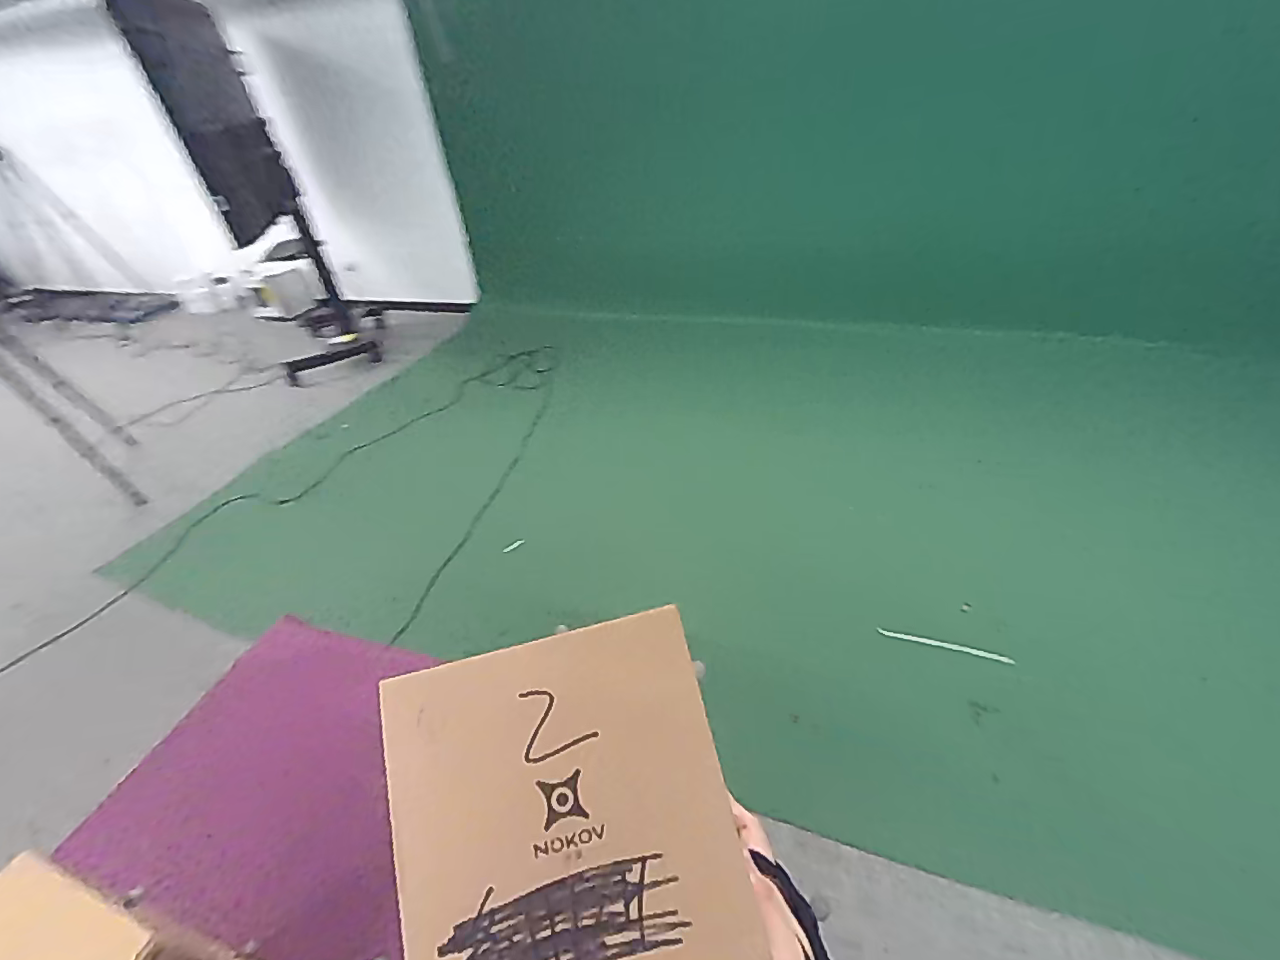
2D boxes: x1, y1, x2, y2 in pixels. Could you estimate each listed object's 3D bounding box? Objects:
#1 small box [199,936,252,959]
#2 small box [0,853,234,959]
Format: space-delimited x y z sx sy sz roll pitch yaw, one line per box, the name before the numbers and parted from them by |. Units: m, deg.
small box | -0.428 0.565 0.511 0.179 0.176 0.168 7 39 19
small box | -0.449 0.434 0.414 0.179 0.176 0.168 8 39 20
